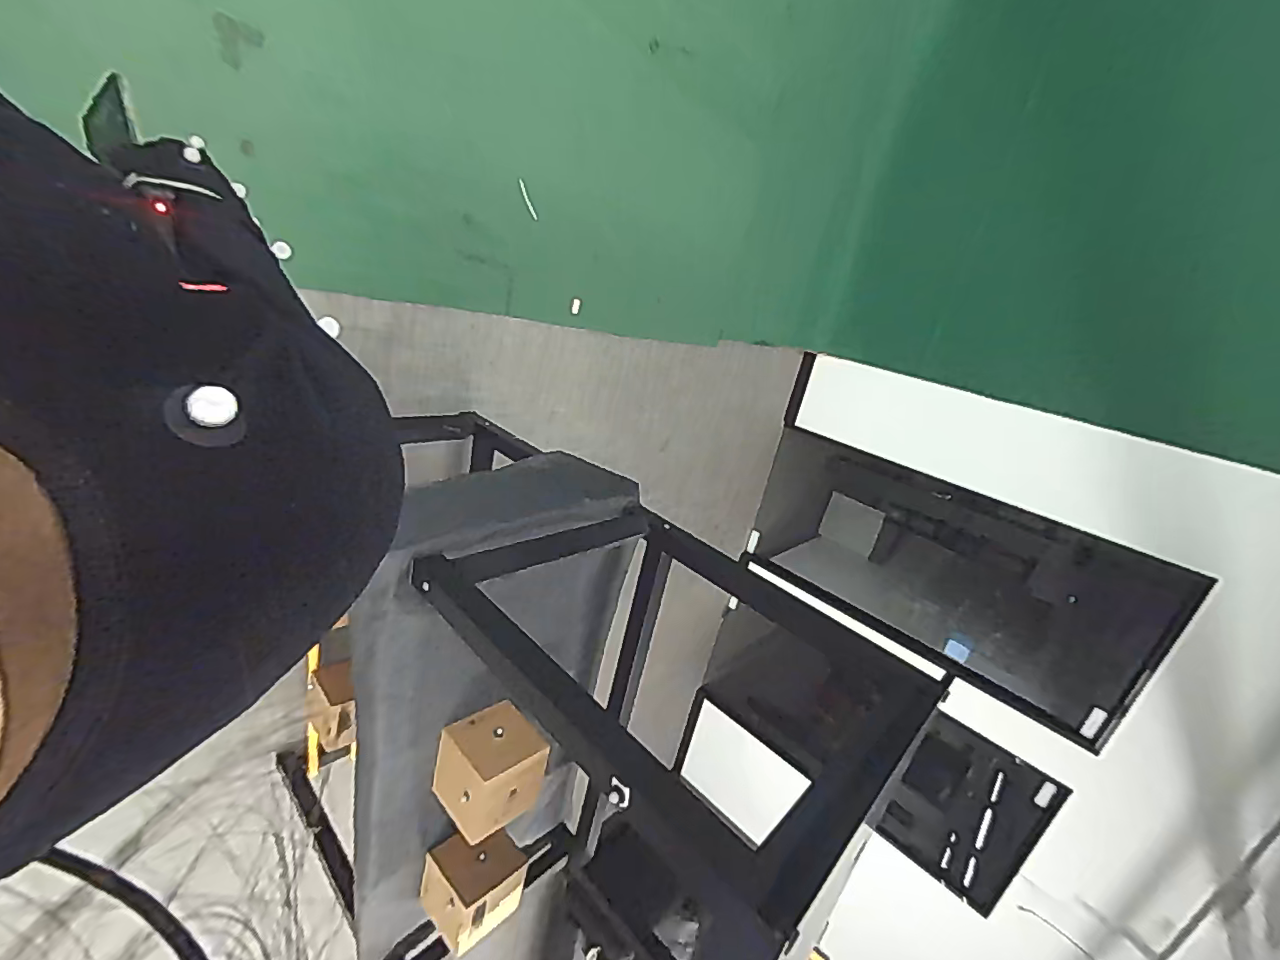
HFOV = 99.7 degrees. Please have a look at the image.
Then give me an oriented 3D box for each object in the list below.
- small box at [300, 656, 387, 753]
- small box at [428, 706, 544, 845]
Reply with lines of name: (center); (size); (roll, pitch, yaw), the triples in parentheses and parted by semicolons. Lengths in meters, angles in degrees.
small box: (-0.878, 0.652, 1.594); (0.179, 0.176, 0.168); (-5, 117, -49)
small box: (-0.337, 0.622, 1.171); (0.168, 0.176, 0.179); (-6, 117, -49)
